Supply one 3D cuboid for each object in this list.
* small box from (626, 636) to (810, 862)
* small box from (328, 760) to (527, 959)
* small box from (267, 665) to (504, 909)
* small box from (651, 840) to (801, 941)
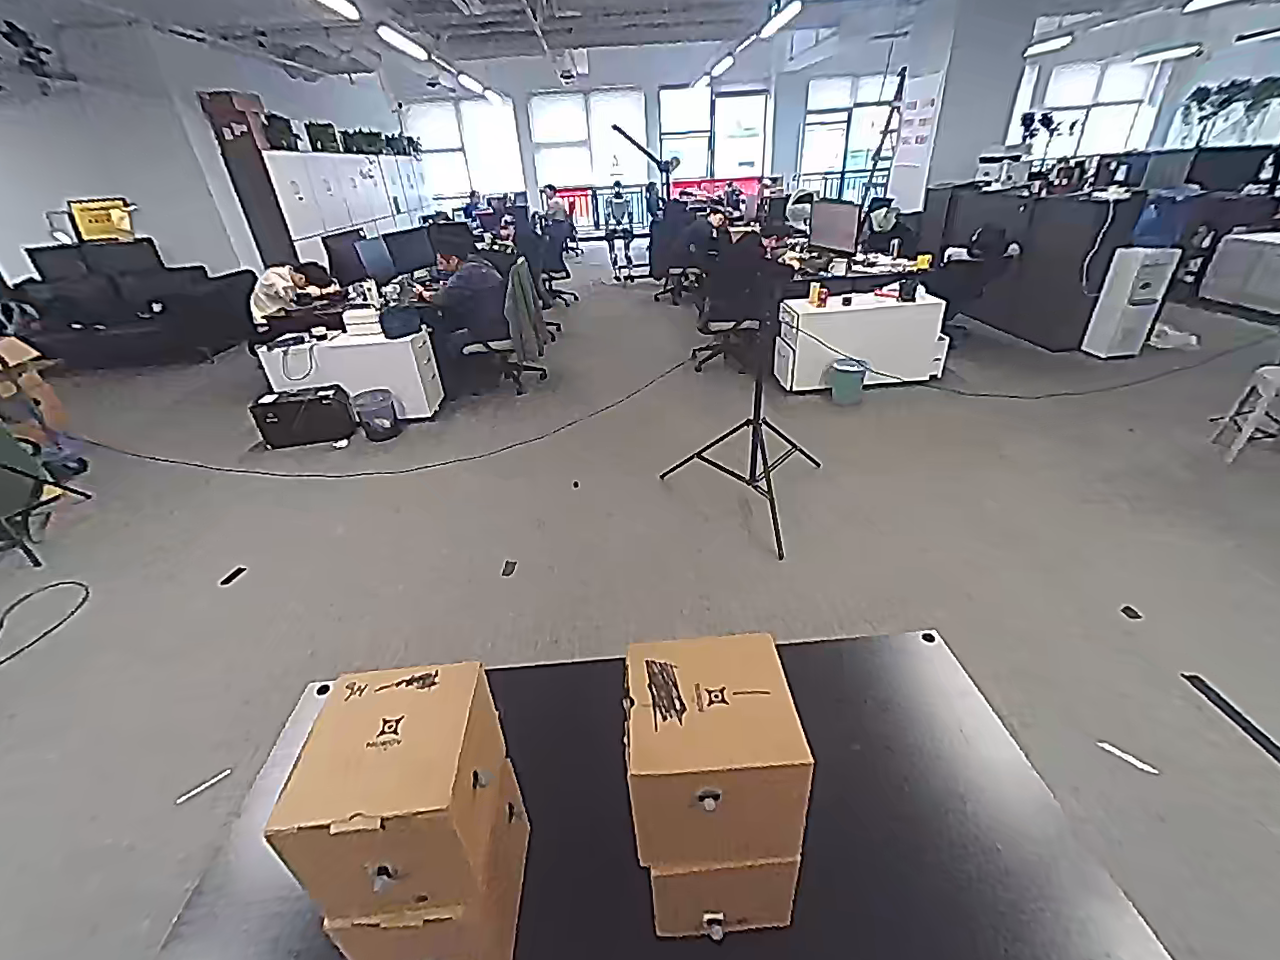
[{"bbox_3d":[0.079,0.303,0.614,0.179,0.176,0.168,-4,30,0],"label":"small box"},{"bbox_3d":[-0.240,0.481,0.667,0.168,0.176,0.179,-4,30,0],"label":"small box"},{"bbox_3d":[-0.252,0.335,0.593,0.168,0.176,0.179,-5,31,-3],"label":"small box"},{"bbox_3d":[0.094,0.445,0.696,0.168,0.176,0.179,-6,31,-2],"label":"small box"}]
